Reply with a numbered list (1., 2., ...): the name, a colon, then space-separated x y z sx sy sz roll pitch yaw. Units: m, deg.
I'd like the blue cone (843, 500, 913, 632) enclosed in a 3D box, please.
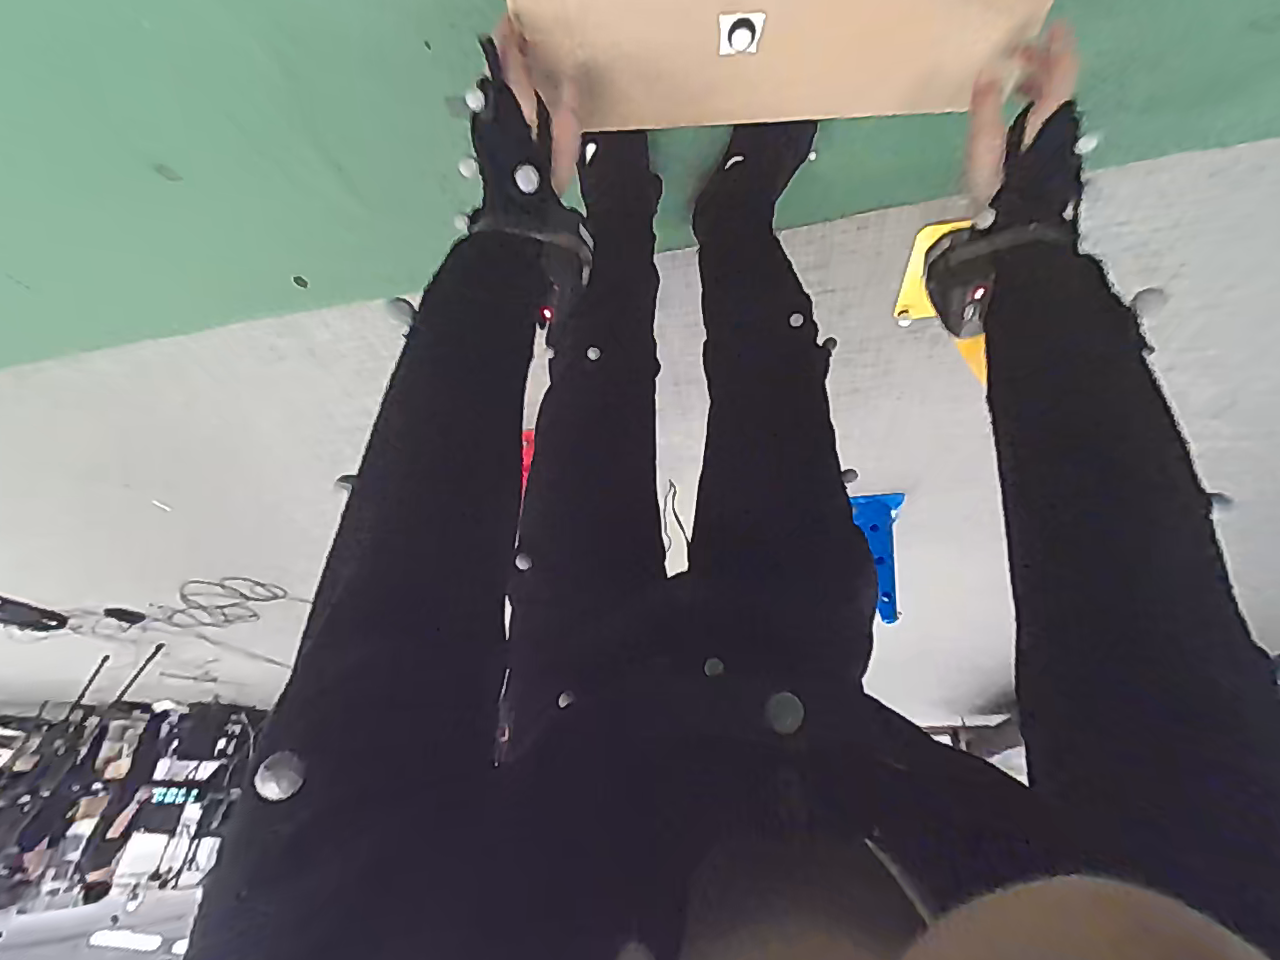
1. blue cone: 0.724 0.254 1.579 0.192 0.380 0.193 -5 147 11
